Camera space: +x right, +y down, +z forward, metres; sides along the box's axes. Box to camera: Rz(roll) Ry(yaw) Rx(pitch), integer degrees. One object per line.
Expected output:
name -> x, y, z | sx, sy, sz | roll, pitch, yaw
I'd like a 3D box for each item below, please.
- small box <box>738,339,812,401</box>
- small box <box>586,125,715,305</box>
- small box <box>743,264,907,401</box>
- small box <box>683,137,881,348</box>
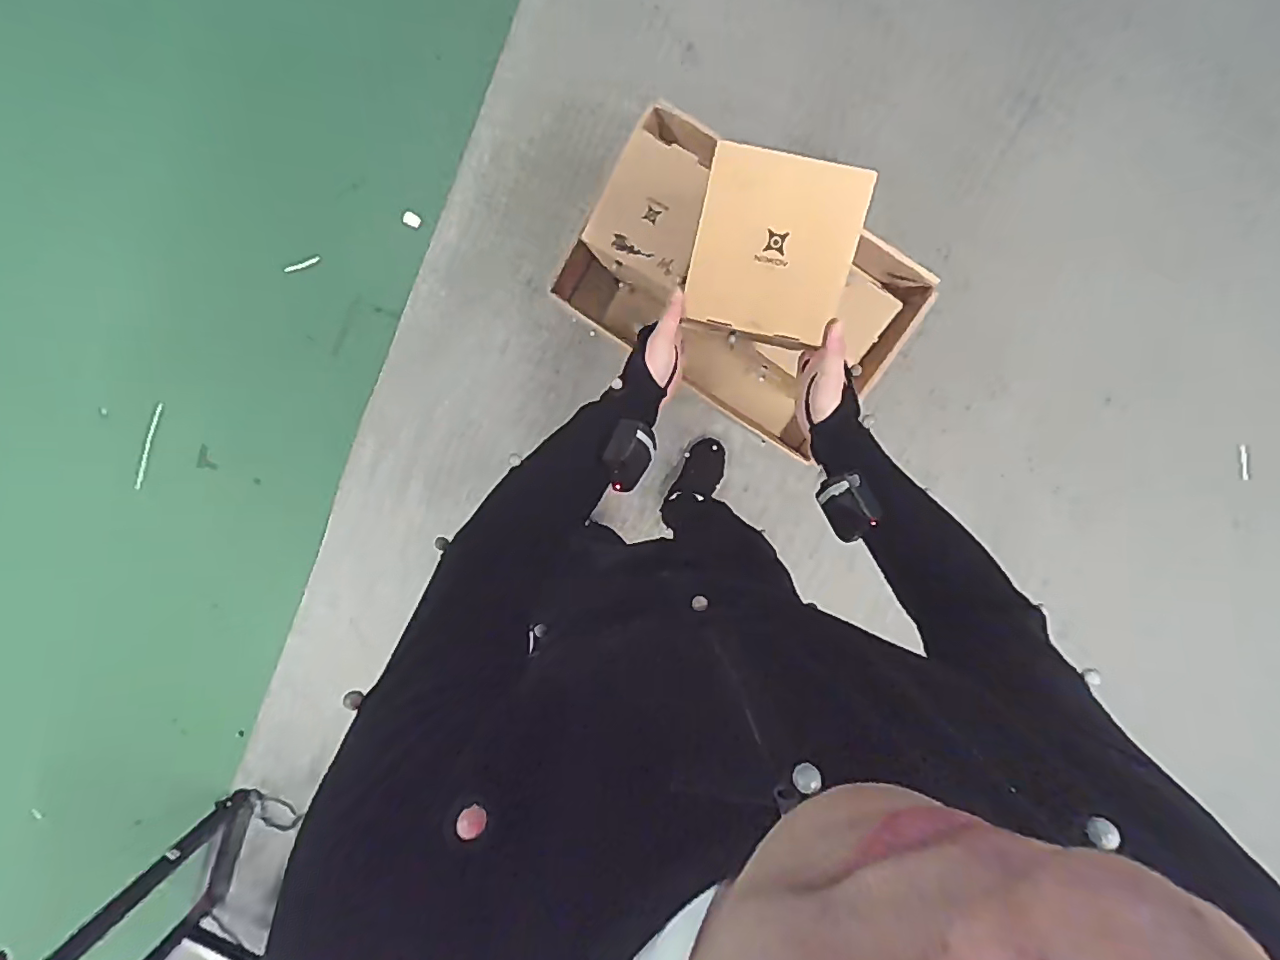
small box -> 0.302, -0.270, 1.029 | 0.168, 0.176, 0.179 | 37, 101, -1
small box -> 0.037, -0.408, 0.866 | 0.168, 0.176, 0.179 | 31, 100, 1
small box -> 0.280, -0.246, 0.870 | 0.168, 0.176, 0.179 | 37, 101, 0
small box -> 0.146, -0.258, 0.628 | 0.168, 0.176, 0.179 | 12, 105, 1
